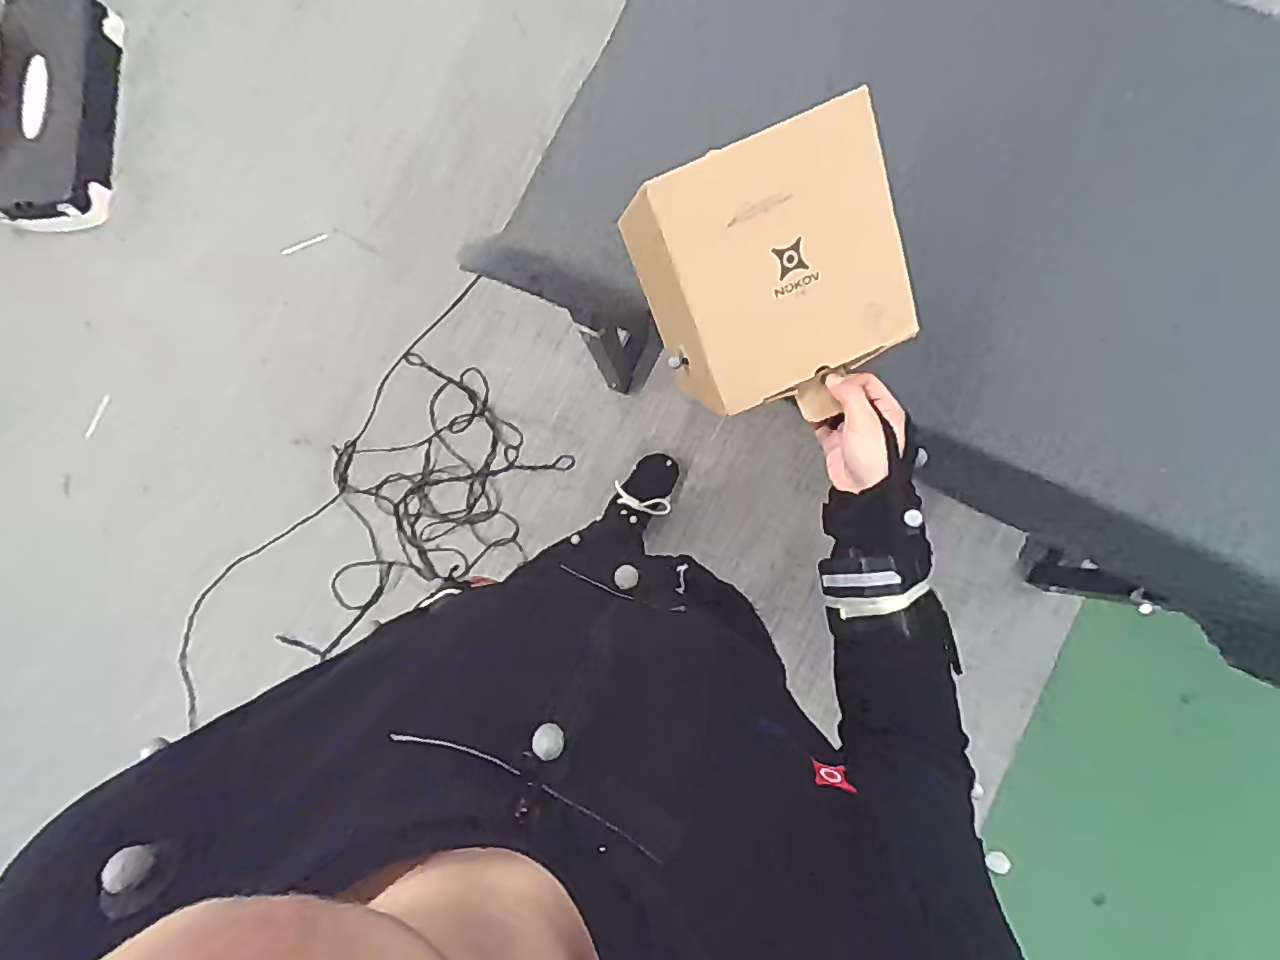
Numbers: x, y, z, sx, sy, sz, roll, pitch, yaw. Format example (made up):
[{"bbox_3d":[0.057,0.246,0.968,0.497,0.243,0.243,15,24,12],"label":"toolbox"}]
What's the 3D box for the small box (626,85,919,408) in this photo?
[{"bbox_3d":[0.099,-0.184,0.464,0.168,0.176,0.179,-24,108,-2],"label":"small box"}]
